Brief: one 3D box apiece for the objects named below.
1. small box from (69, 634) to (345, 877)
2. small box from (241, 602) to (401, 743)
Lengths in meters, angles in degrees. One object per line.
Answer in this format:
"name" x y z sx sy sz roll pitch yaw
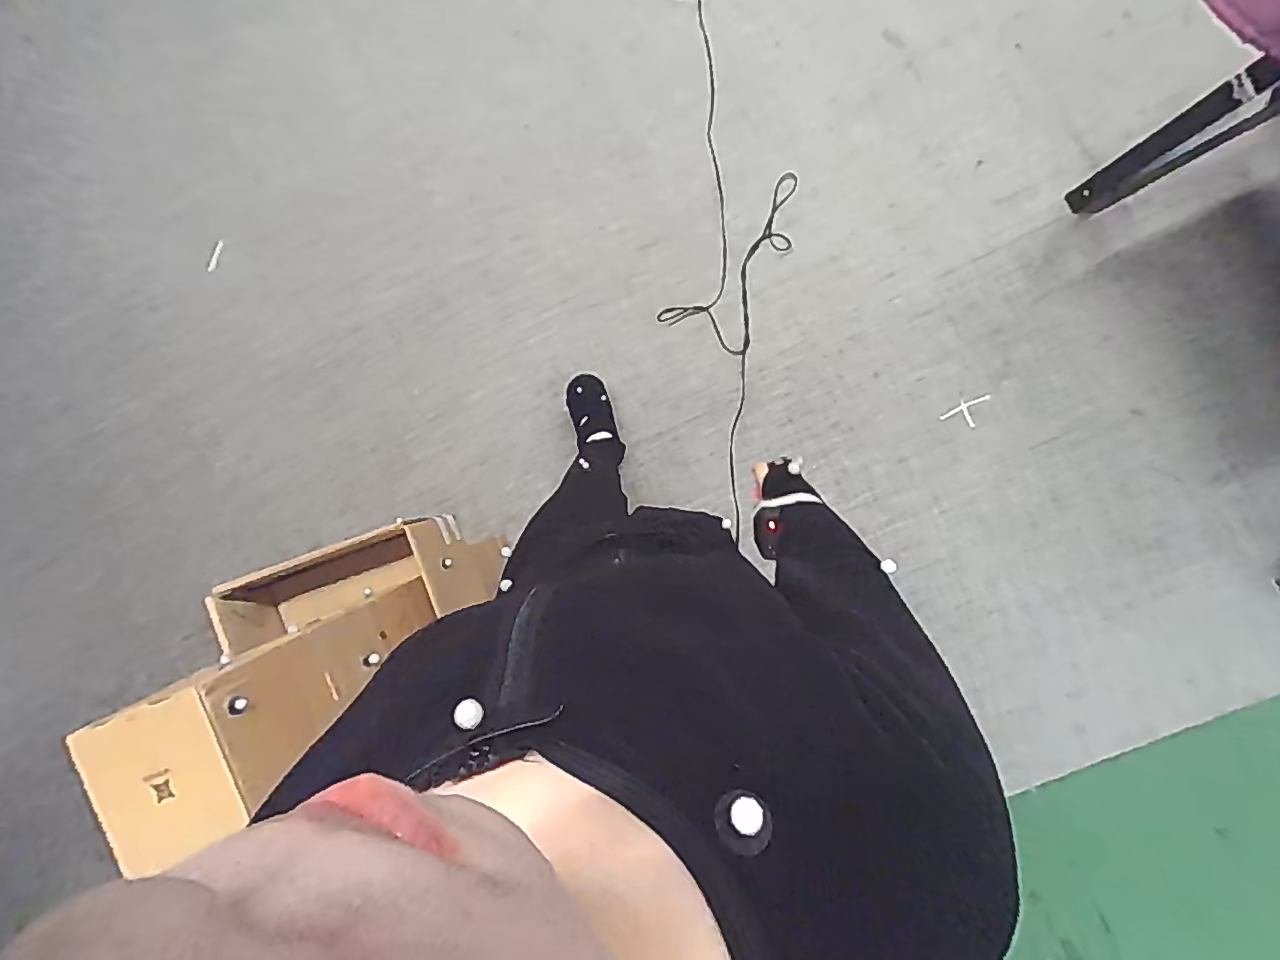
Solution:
"small box" -0.498 0.315 0.651 0.168 0.176 0.179 -22 91 5
"small box" -0.491 0.303 0.815 0.179 0.176 0.168 -22 91 3
